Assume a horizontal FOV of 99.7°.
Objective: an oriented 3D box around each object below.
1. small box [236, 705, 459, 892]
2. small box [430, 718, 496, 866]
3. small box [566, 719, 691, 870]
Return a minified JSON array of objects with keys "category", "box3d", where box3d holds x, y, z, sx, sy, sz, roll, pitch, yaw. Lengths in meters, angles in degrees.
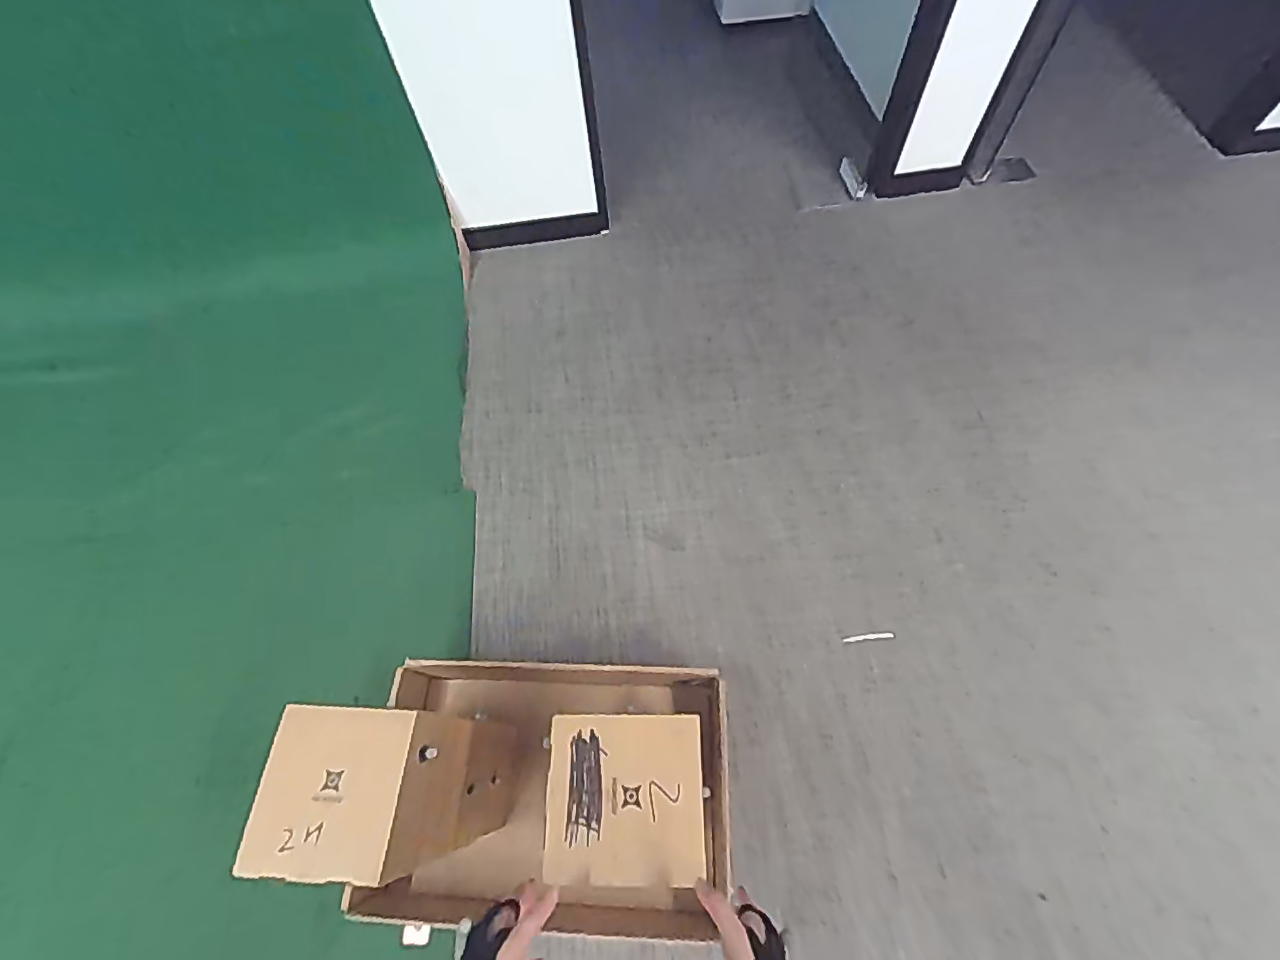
[{"category":"small box","box3d":[-0.344,0.390,0.682,0.168,0.176,0.179,2,63,4]},{"category":"small box","box3d":[-0.333,0.463,0.829,0.168,0.176,0.179,4,64,5]},{"category":"small box","box3d":[-0.009,0.461,0.809,0.168,0.176,0.179,0,63,4]}]
